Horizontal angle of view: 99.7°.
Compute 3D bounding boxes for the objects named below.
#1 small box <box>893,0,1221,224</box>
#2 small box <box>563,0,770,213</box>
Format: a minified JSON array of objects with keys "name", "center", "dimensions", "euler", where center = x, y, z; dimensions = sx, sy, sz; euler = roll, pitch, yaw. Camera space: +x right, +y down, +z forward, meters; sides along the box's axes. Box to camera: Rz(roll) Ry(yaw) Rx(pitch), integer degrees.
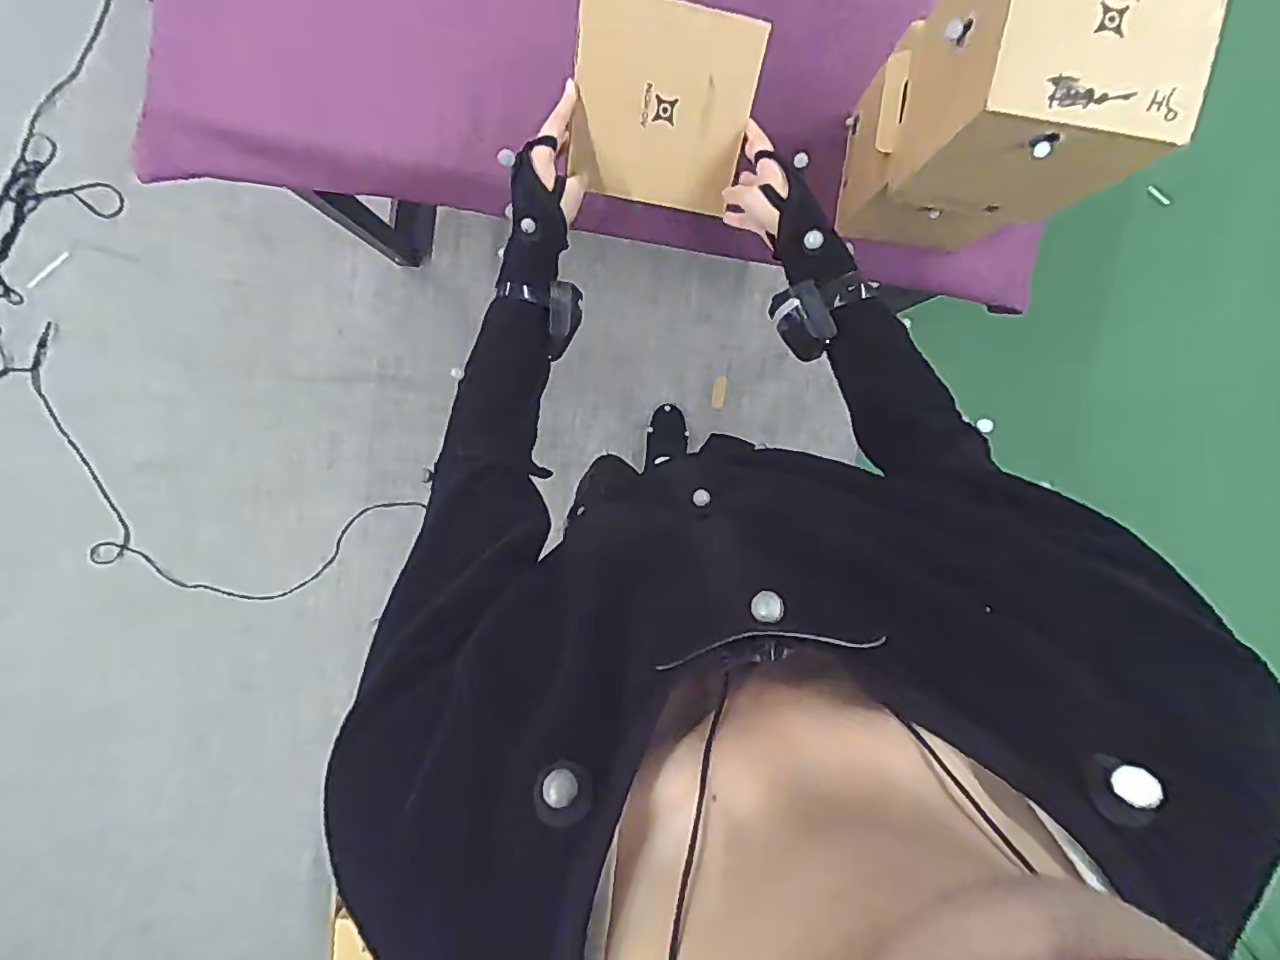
[{"name":"small box","center":[0.358,-0.365,0.492],"dimensions":[0.168,0.176,0.179],"euler":[9,95,0]},{"name":"small box","center":[0.017,-0.409,0.592],"dimensions":[0.179,0.176,0.168],"euler":[7,124,-8]}]
